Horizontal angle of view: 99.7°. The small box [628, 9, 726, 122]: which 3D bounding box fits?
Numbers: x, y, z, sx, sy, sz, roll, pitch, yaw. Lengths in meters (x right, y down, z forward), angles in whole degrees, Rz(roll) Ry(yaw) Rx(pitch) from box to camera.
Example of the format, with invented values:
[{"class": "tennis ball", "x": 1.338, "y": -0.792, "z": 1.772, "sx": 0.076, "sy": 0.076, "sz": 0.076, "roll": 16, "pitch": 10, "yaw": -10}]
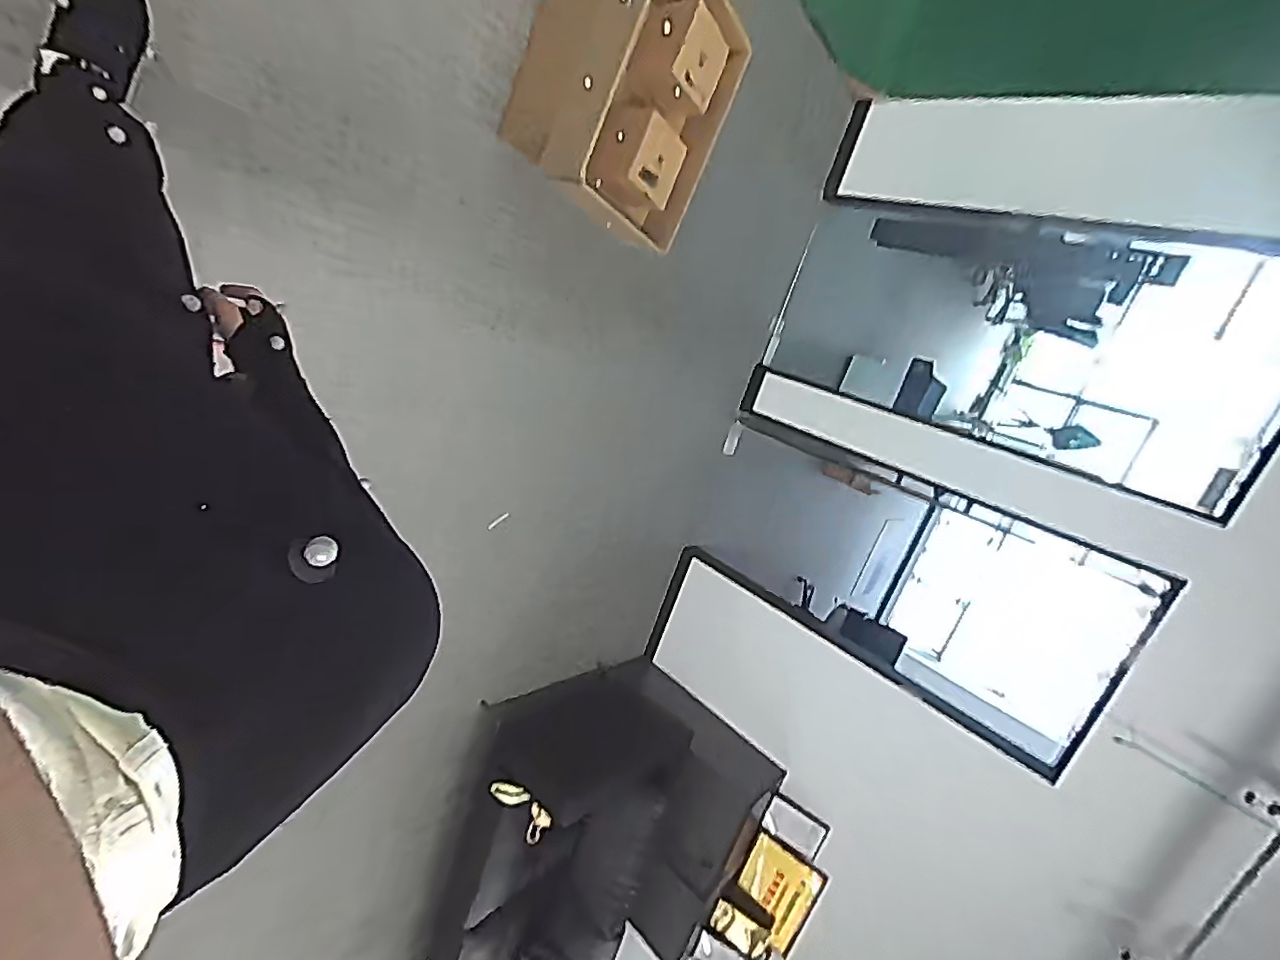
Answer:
[{"class": "small box", "x": 0.095, "y": -1.088, "z": 1.430, "sx": 0.168, "sy": 0.176, "sz": 0.179, "roll": 13, "pitch": 102, "yaw": -54}]
